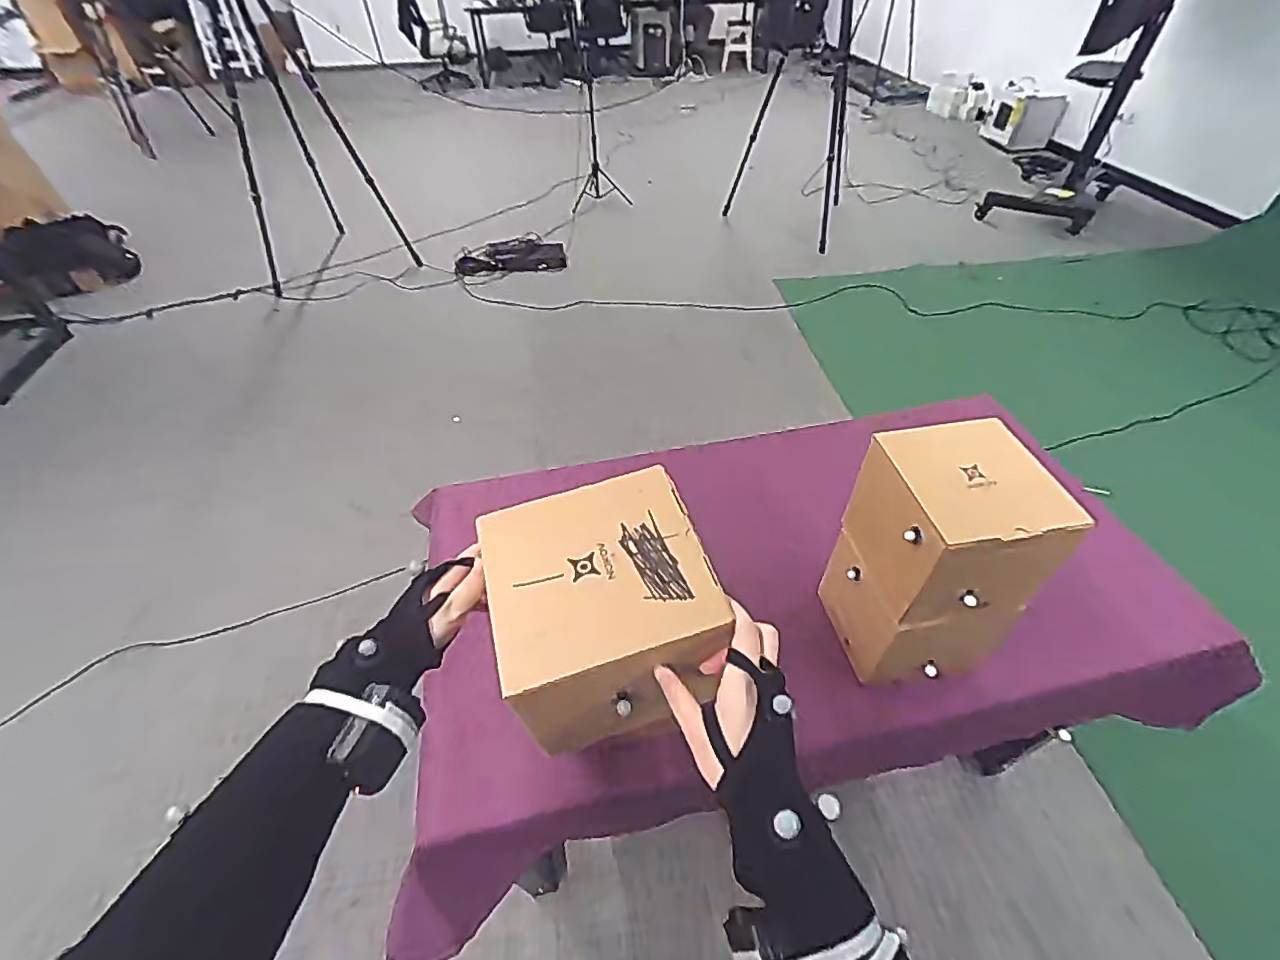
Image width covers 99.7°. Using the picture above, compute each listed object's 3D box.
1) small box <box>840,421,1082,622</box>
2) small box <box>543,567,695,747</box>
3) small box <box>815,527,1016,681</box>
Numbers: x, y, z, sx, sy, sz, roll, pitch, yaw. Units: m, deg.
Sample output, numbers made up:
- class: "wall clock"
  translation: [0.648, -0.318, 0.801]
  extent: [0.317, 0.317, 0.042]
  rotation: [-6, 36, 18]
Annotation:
- class: "small box"
  translation: [0.374, 0.051, 0.676]
  extent: [0.168, 0.176, 0.179]
  rotation: [-8, 48, -5]
- class: "small box"
  translation: [-0.030, 0.242, 0.732]
  extent: [0.179, 0.176, 0.168]
  rotation: [-7, 47, -6]
- class: "small box"
  translation: [0.381, 0.171, 0.788]
  extent: [0.179, 0.176, 0.168]
  rotation: [-8, 46, -7]
